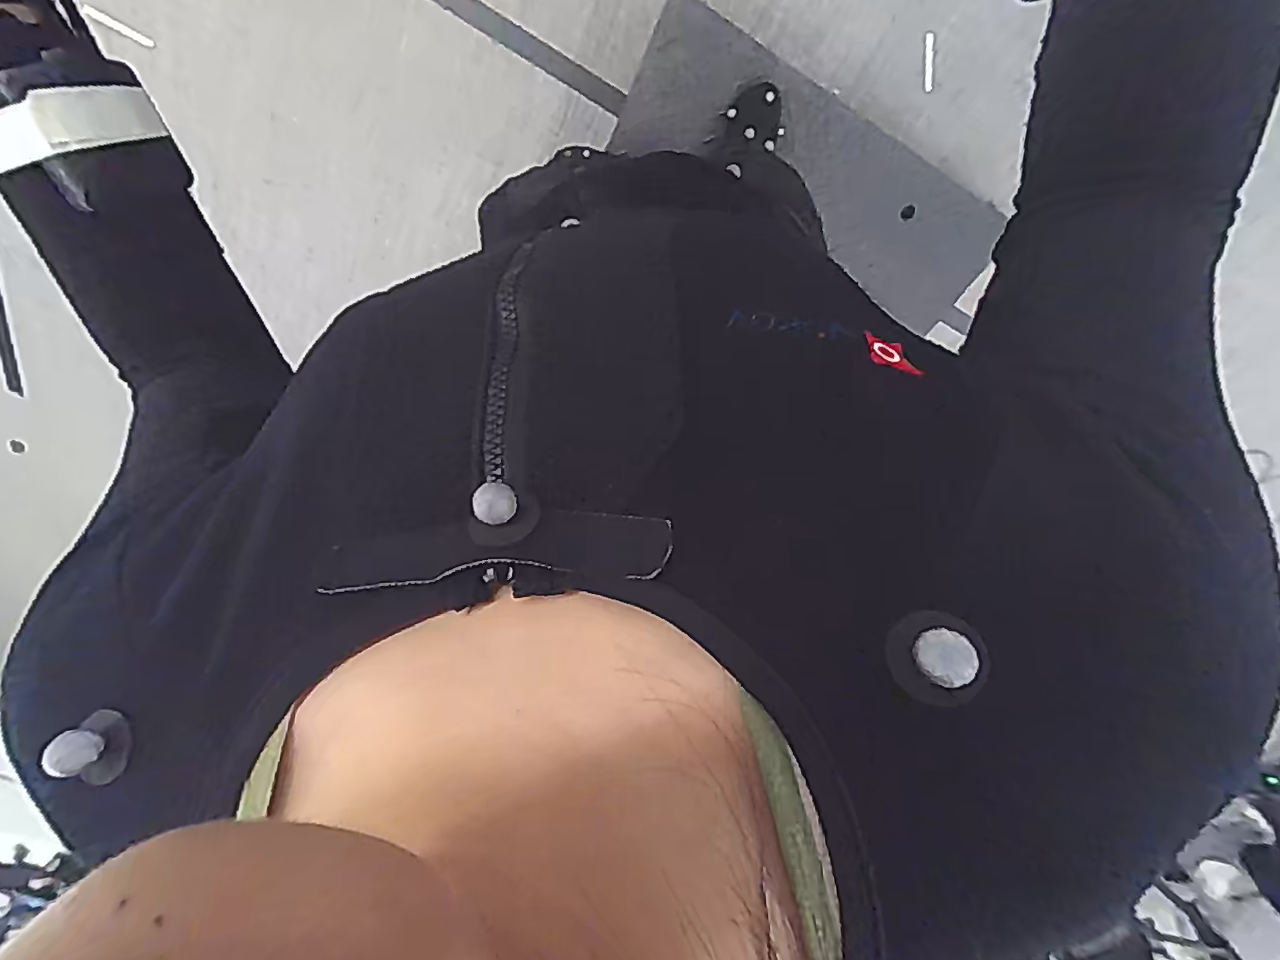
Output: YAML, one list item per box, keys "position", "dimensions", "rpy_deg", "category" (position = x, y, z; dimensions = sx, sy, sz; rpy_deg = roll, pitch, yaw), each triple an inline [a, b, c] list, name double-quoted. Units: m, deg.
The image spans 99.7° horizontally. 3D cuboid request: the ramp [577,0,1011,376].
- position: [0.394, -0.629, 1.323]
  dimensions: [0.991, 0.206, 0.509]
  rpy_deg: [23, 124, -11]
  category: "ramp"
